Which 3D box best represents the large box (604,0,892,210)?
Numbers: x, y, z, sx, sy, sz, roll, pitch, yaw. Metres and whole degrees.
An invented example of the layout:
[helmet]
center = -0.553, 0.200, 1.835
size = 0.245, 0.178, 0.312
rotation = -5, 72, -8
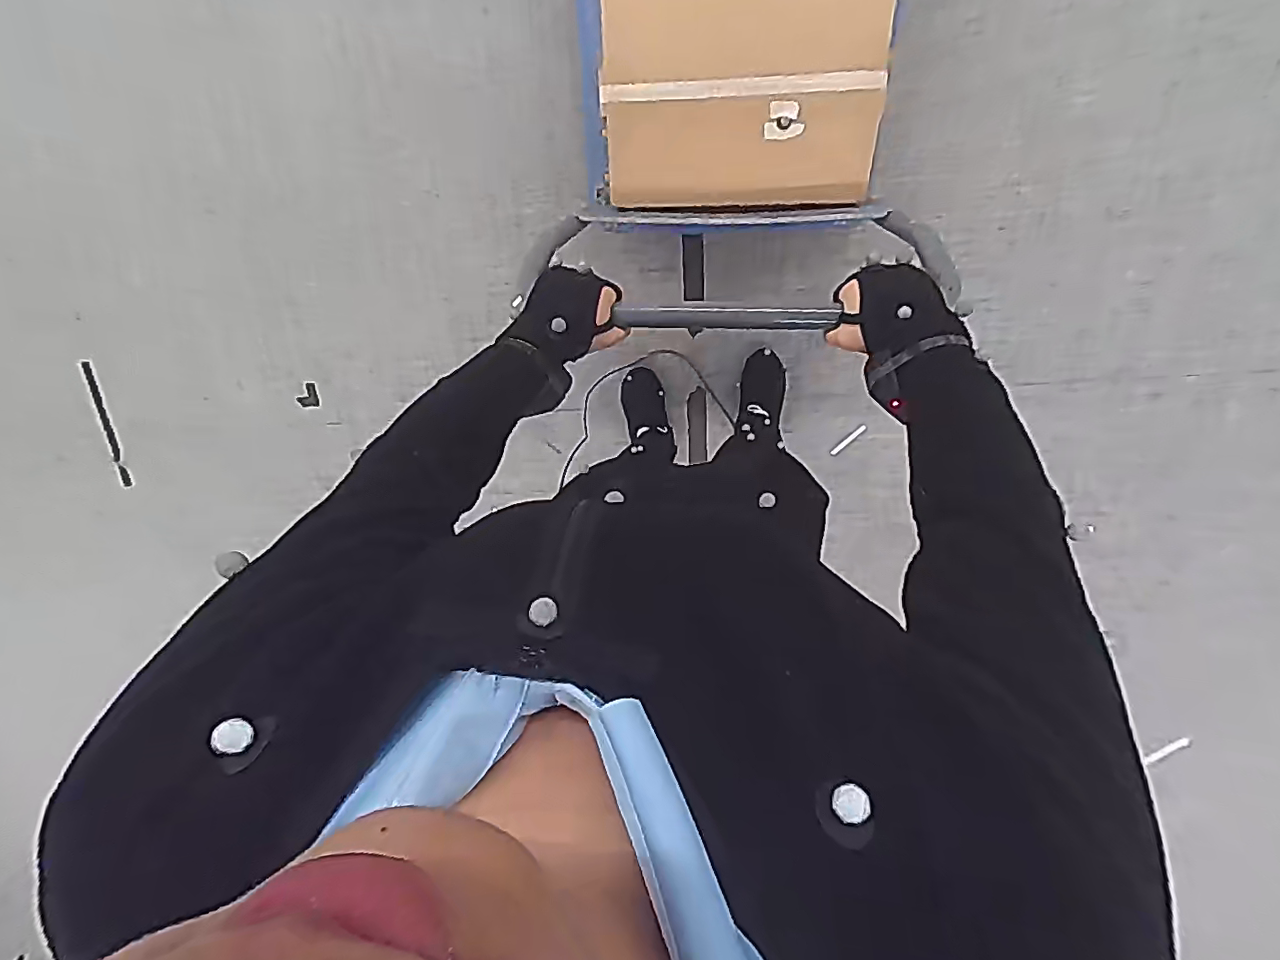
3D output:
[large box]
center = 0.166, -0.656, 0.933
size = 0.408, 0.320, 0.320
rotation = 1, 120, 6
